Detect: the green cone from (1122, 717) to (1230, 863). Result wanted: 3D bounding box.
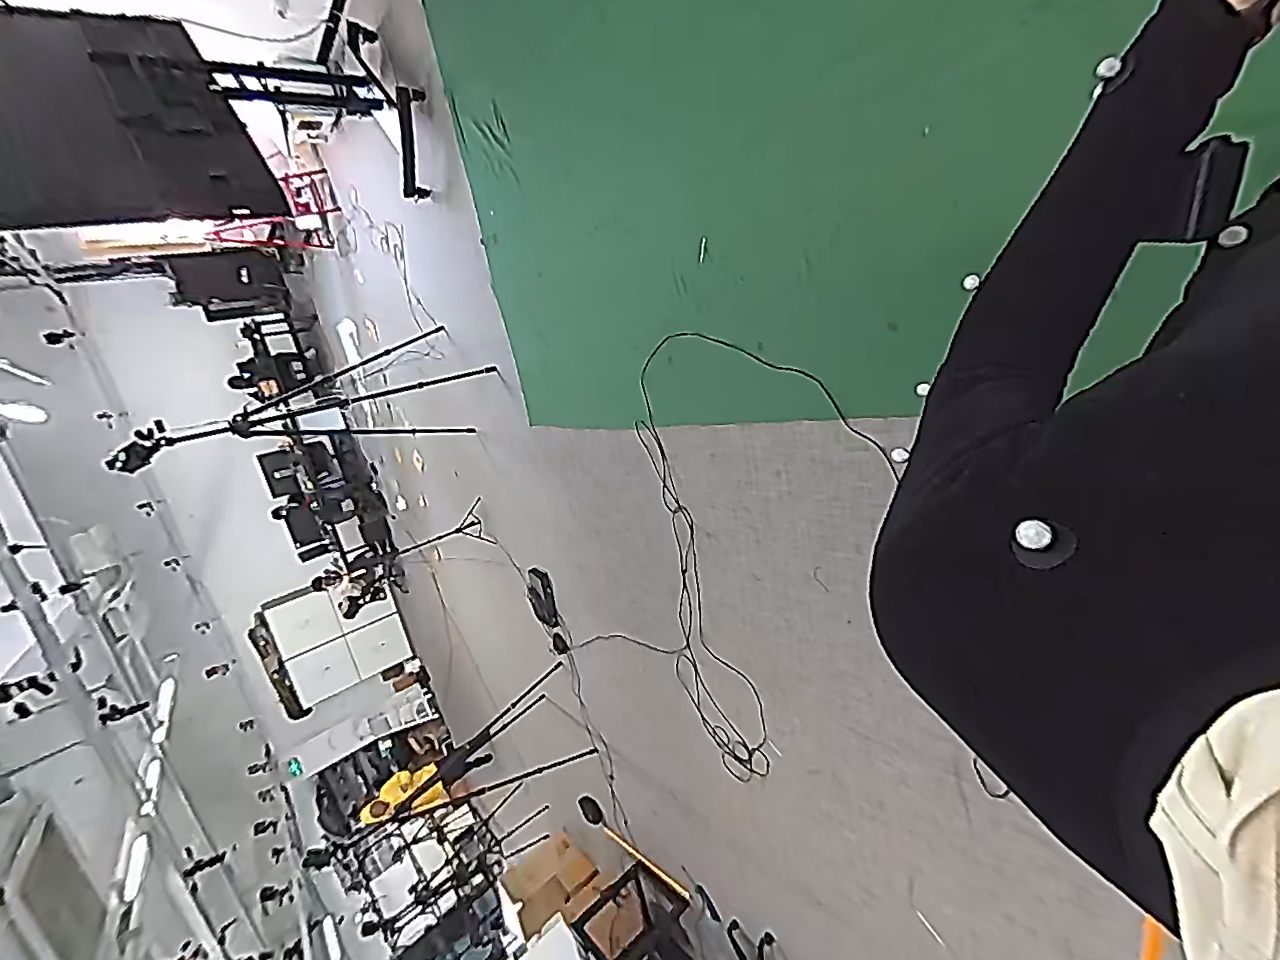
[{"bbox_3d":[1.271,0.791,1.322,0.202,0.368,0.200,6,112,52],"label":"green cone"}]
